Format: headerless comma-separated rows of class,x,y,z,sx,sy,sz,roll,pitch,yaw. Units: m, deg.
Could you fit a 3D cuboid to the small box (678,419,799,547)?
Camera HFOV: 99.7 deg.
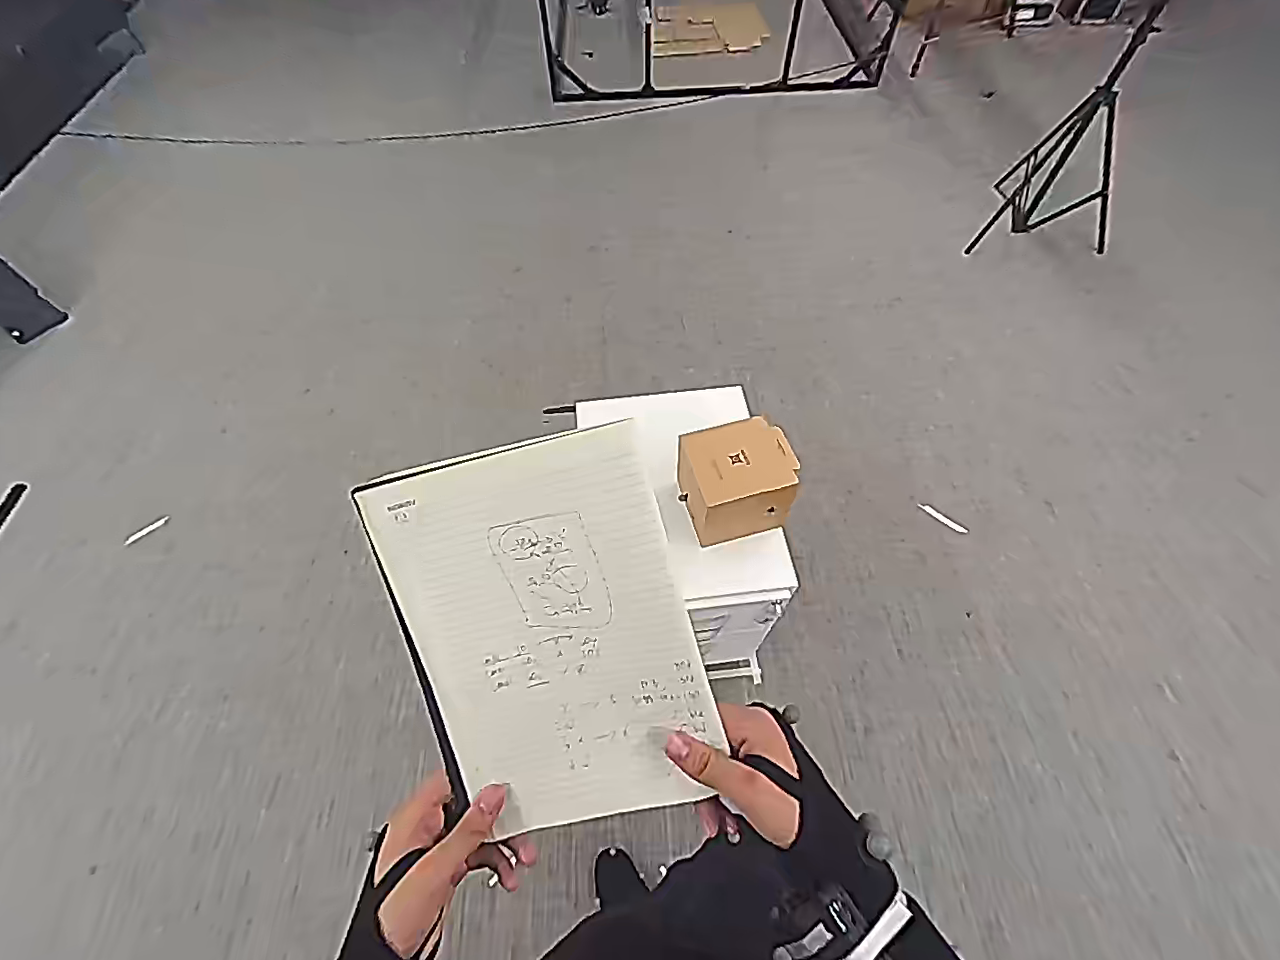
small box,0.180,0.009,1.054,0.179,0.176,0.168,-14,58,-7
